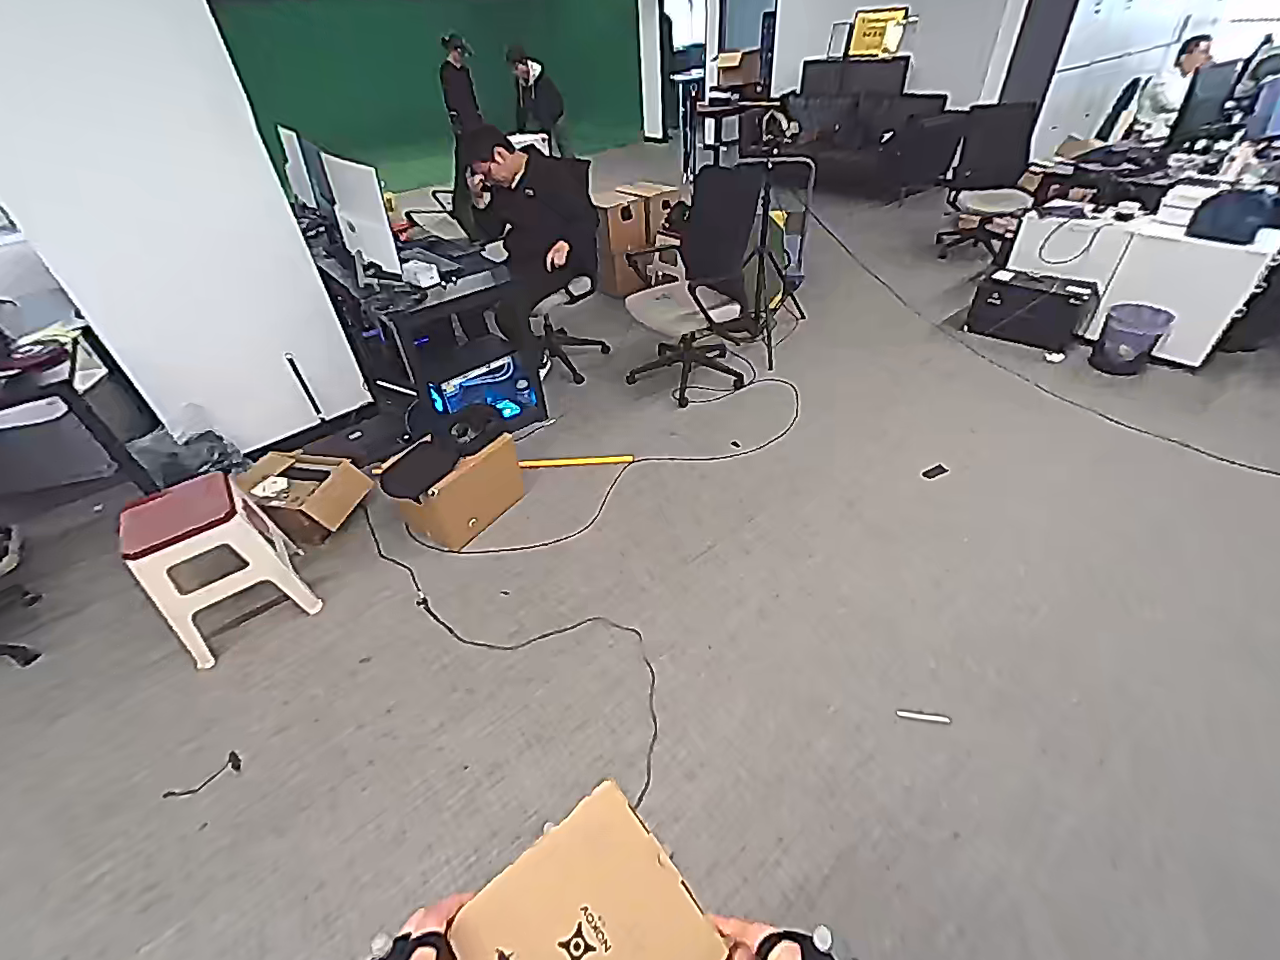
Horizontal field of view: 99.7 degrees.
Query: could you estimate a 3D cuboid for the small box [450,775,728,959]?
[{"bbox_3d":[-0.047,0.419,0.509,0.179,0.176,0.168,-32,60,-24],"label":"small box"}]
